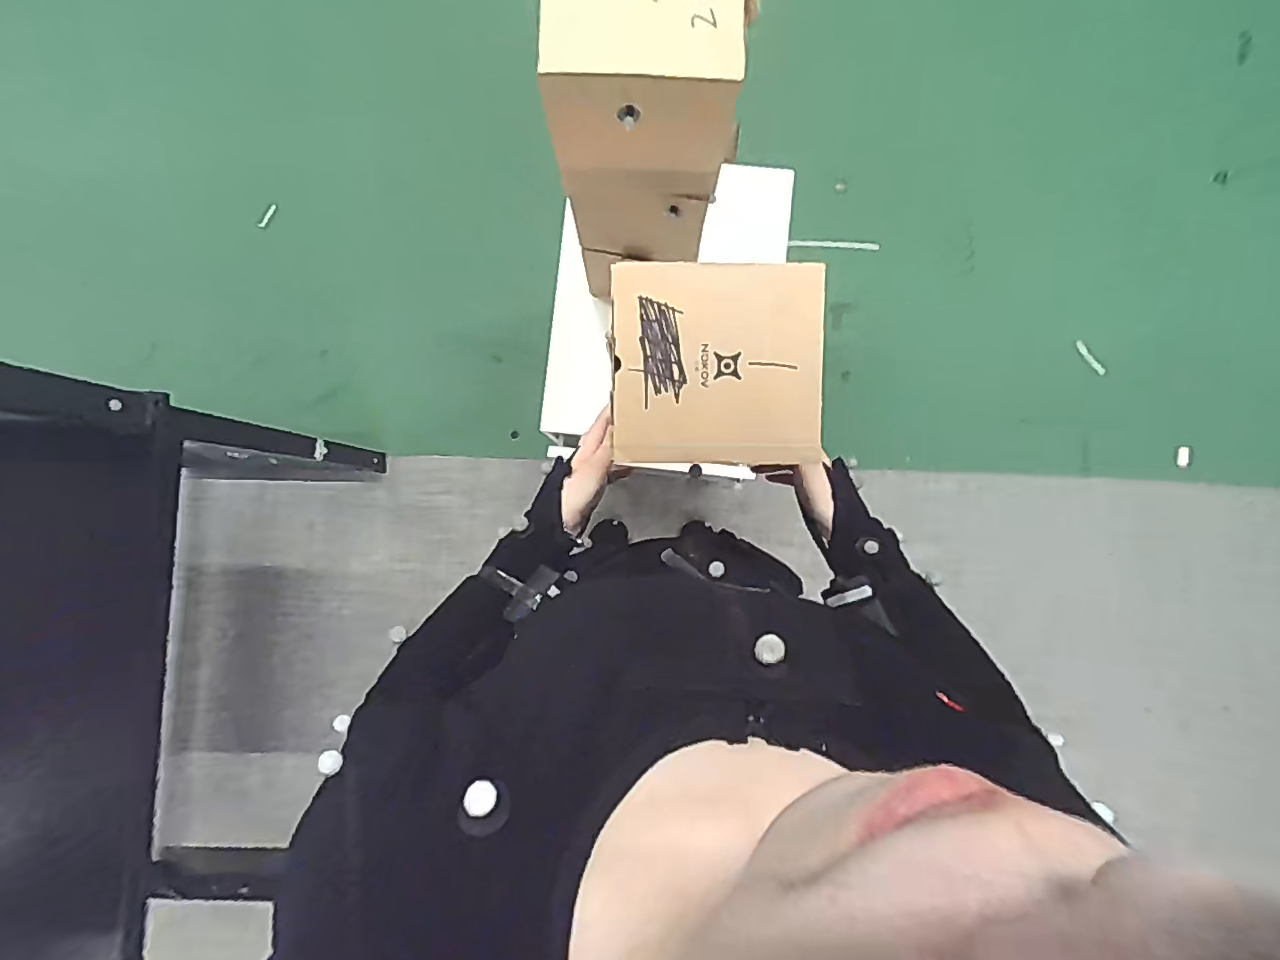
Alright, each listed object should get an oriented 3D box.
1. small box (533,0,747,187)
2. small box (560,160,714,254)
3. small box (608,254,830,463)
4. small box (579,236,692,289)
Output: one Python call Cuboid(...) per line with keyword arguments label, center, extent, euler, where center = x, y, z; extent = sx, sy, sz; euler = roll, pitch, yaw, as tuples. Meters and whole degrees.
Cuboid(label="small box", center=(0.003, -0.412, 0.524), extent=(0.179, 0.176, 0.168), euler=(2, 88, -1))
Cuboid(label="small box", center=(0.008, -0.408, 0.689), extent=(0.179, 0.176, 0.168), euler=(10, 87, 0))
Cuboid(label="small box", center=(0.063, -0.101, 0.510), extent=(0.179, 0.176, 0.168), euler=(0, 94, 0))
Cuboid(label="small box", center=(0.005, -0.403, 0.851), extent=(0.168, 0.176, 0.179), euler=(7, 88, 0))
